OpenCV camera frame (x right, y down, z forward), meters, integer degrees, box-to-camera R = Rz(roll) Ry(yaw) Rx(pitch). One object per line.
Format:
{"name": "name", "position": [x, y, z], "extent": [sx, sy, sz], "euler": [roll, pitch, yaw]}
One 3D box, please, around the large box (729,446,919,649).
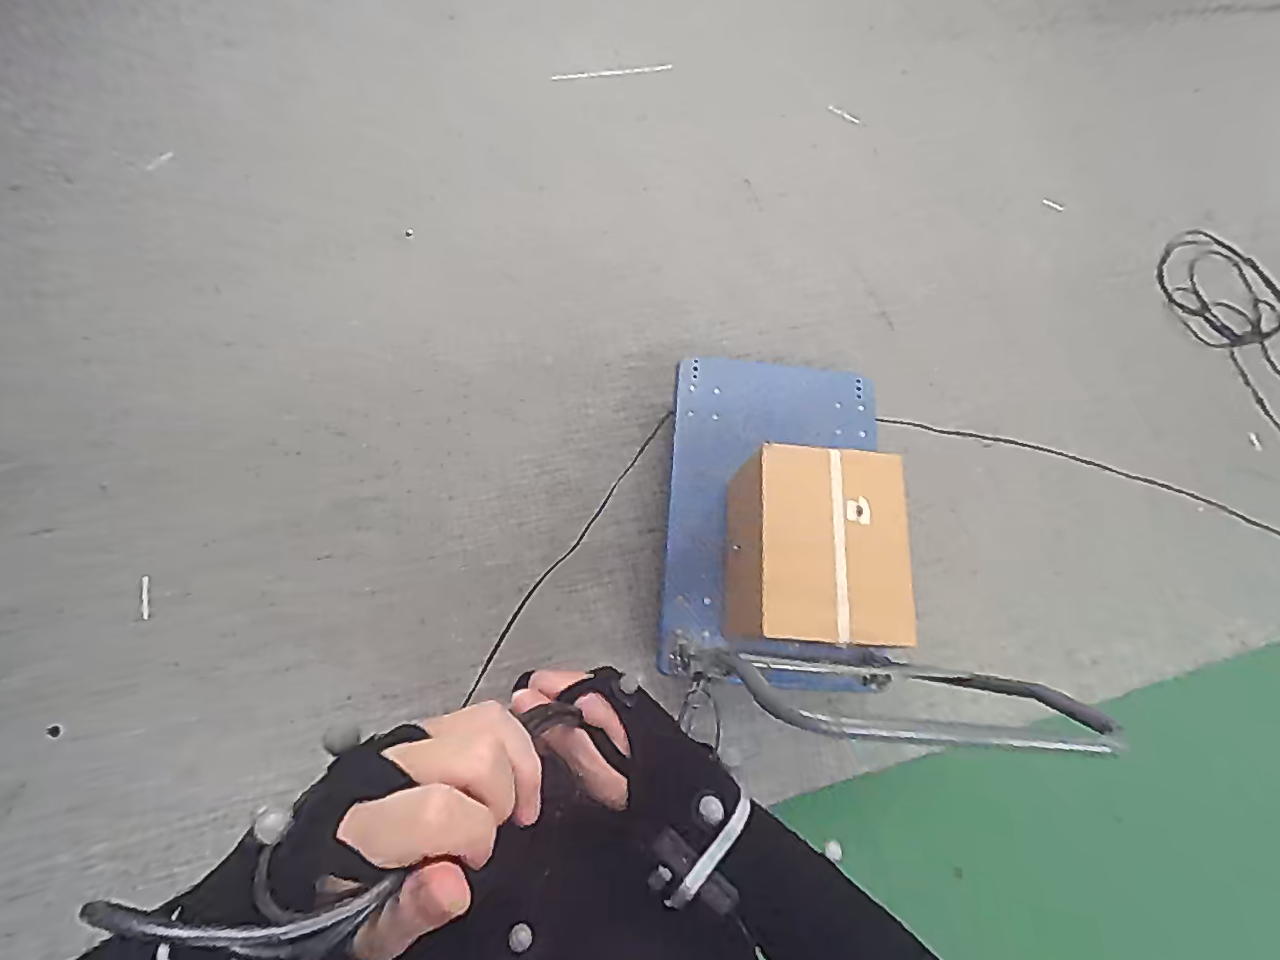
{"name": "large box", "position": [0.387, 0.174, 1.240], "extent": [0.320, 0.320, 0.408], "euler": [5, 72, -5]}
